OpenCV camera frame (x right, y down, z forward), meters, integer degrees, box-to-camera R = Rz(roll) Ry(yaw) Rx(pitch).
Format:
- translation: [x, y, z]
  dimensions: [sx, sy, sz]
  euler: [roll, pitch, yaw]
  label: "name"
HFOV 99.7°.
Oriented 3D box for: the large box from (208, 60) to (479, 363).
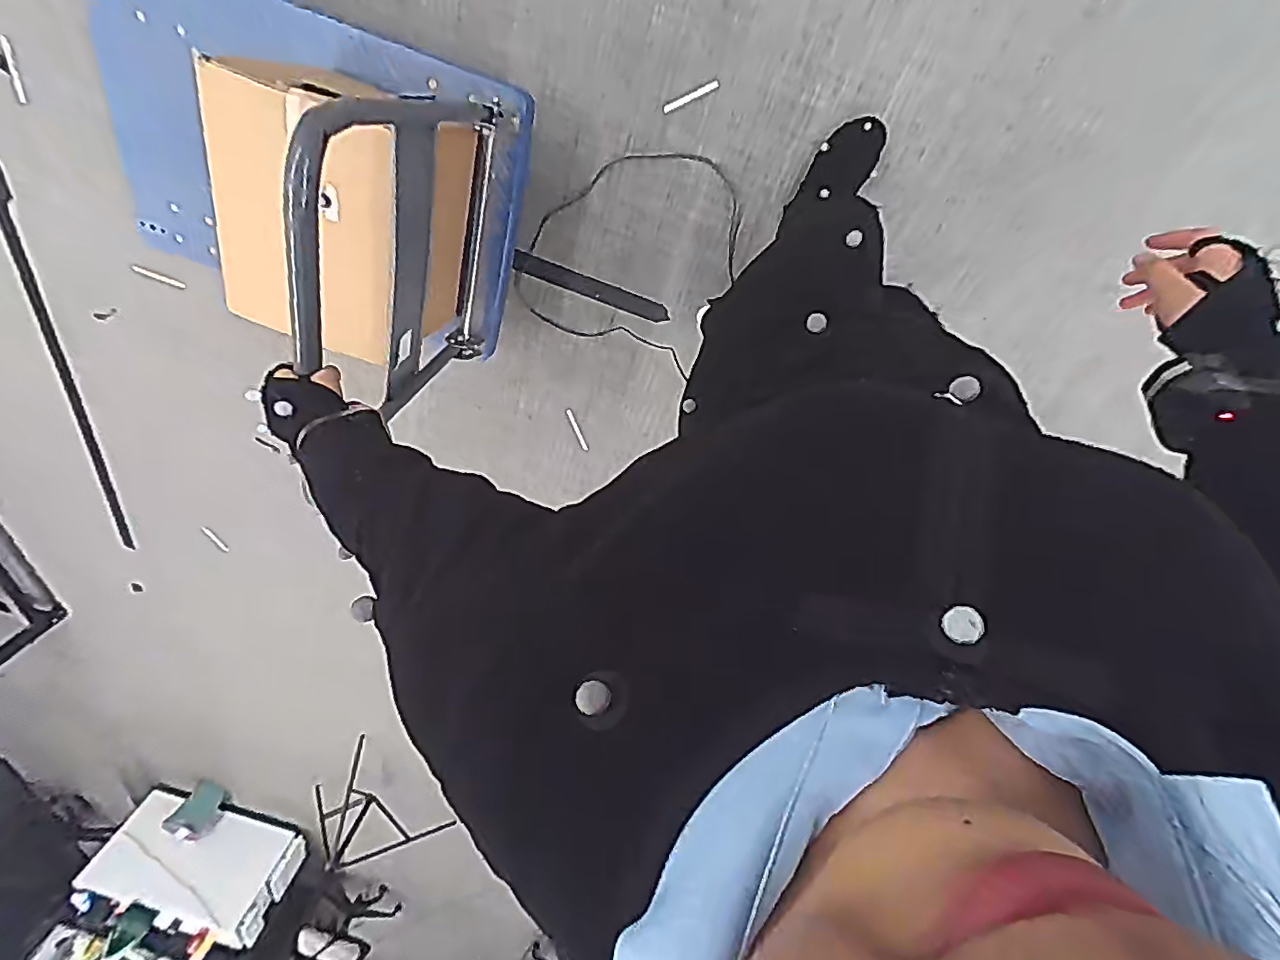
- translation: [-0.536, -0.502, 1.045]
  dimensions: [0.320, 0.320, 0.408]
  euler: [19, 124, -3]
  label: "large box"
